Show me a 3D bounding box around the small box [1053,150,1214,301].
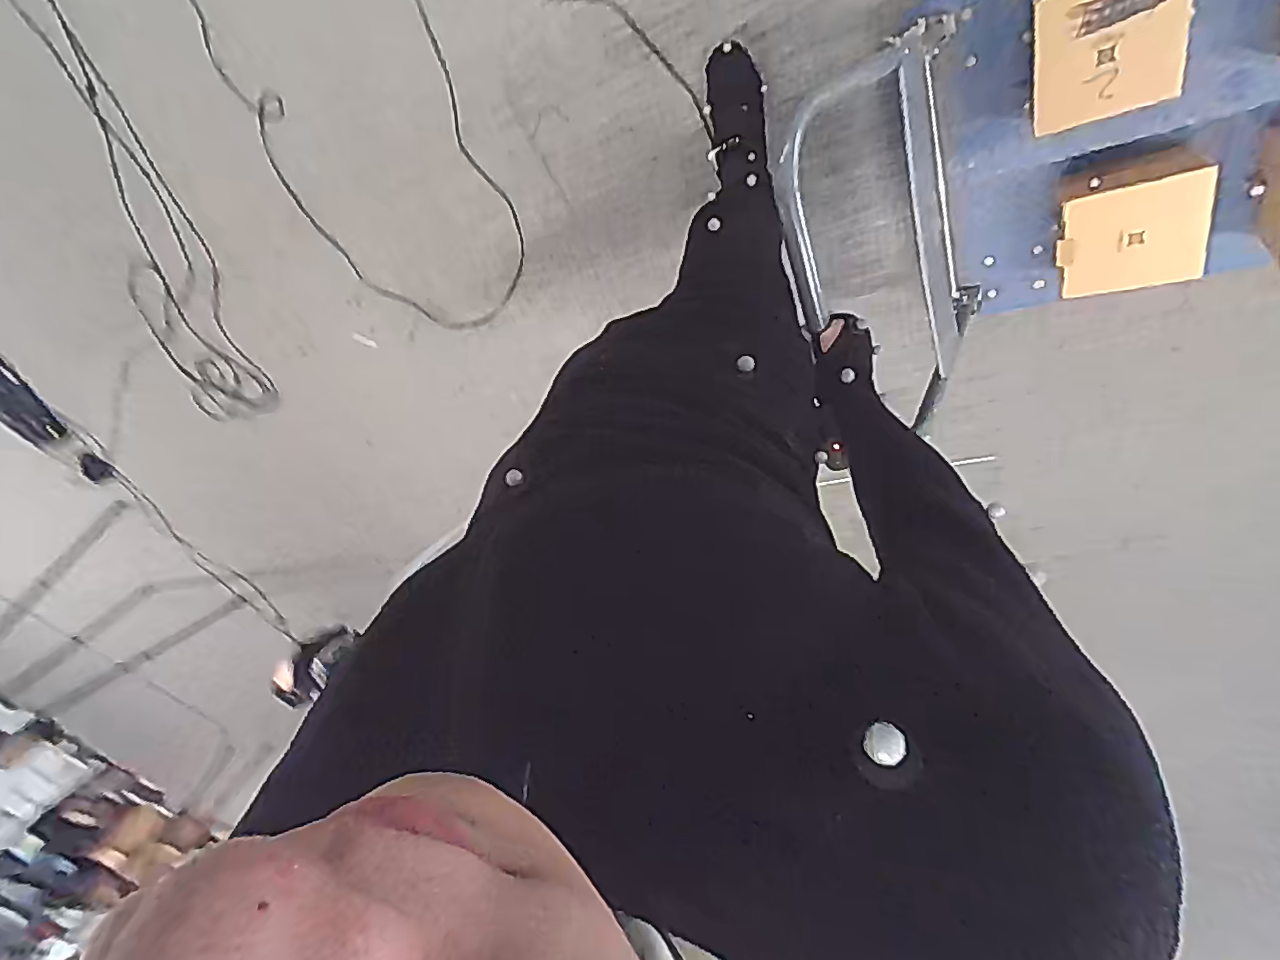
[{"bbox_3d":[0.806,-0.424,0.904,0.179,0.176,0.168,1,127,36],"label":"small box"}]

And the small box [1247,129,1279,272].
[{"bbox_3d":[1.007,-0.420,0.756,0.179,0.176,0.168,-2,125,39],"label":"small box"}]
